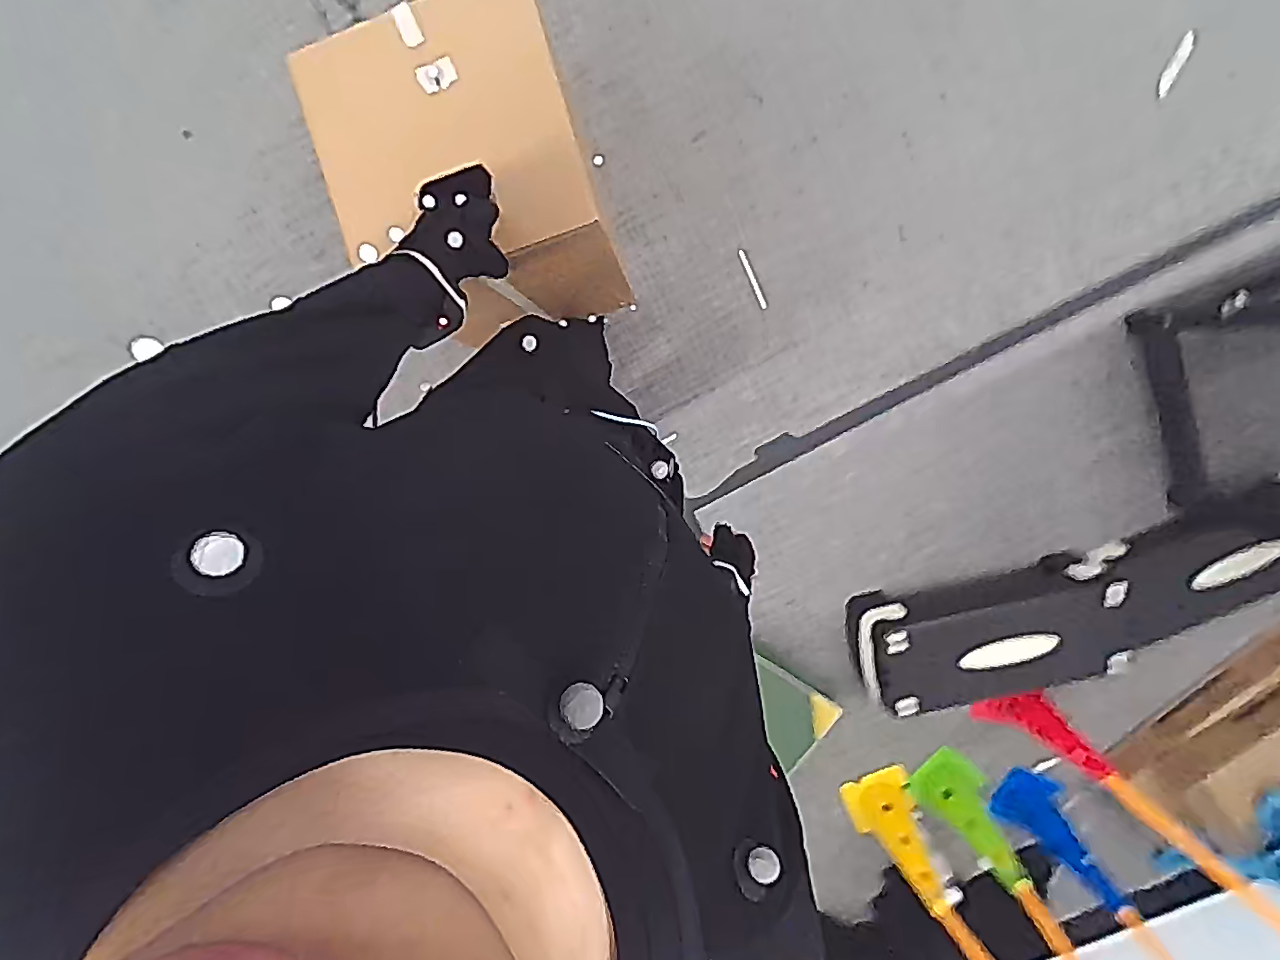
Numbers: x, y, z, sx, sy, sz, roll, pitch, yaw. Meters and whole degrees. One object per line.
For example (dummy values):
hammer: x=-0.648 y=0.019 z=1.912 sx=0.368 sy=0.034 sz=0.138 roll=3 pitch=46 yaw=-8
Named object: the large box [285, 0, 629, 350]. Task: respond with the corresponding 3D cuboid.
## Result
large box: x=-0.235 y=-0.425 z=0.850 sx=0.320 sy=0.408 sz=0.320 roll=-17 pitch=94 yaw=8
